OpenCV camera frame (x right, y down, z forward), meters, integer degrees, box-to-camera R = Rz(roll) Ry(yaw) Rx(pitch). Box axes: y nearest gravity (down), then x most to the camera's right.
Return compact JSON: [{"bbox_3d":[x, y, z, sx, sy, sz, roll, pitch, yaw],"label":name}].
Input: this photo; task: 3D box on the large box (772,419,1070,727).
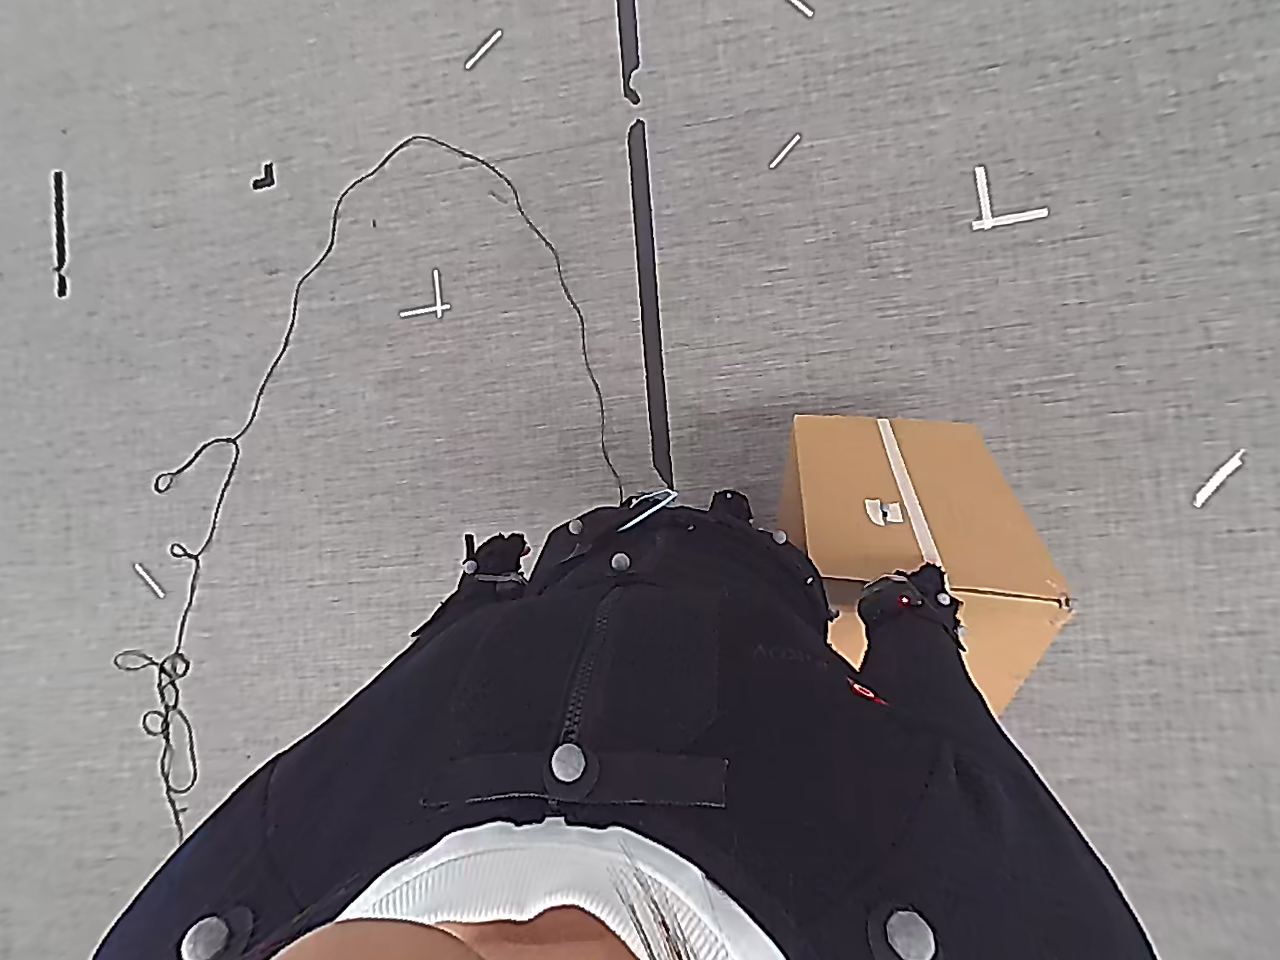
[{"bbox_3d":[0.409,0.138,0.924,0.320,0.408,0.320,4,129,9],"label":"large box"}]
